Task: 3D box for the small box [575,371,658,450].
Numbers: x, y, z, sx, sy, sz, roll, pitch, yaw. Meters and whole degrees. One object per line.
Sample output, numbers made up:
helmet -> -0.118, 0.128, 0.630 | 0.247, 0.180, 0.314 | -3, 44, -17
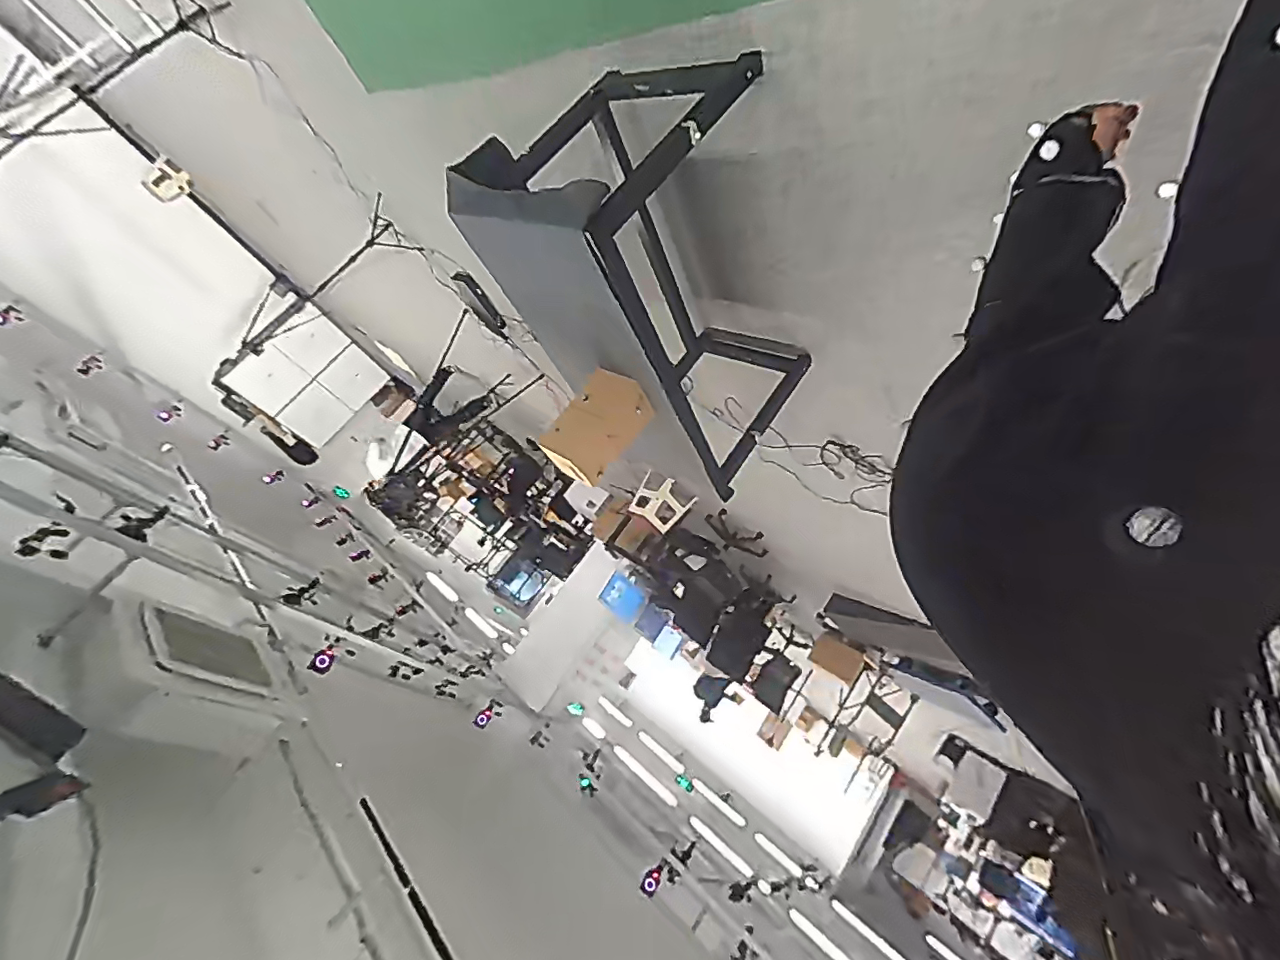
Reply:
small box -> -0.072, -0.232, 1.768 | 0.179, 0.176, 0.168 | 26, 163, 38
